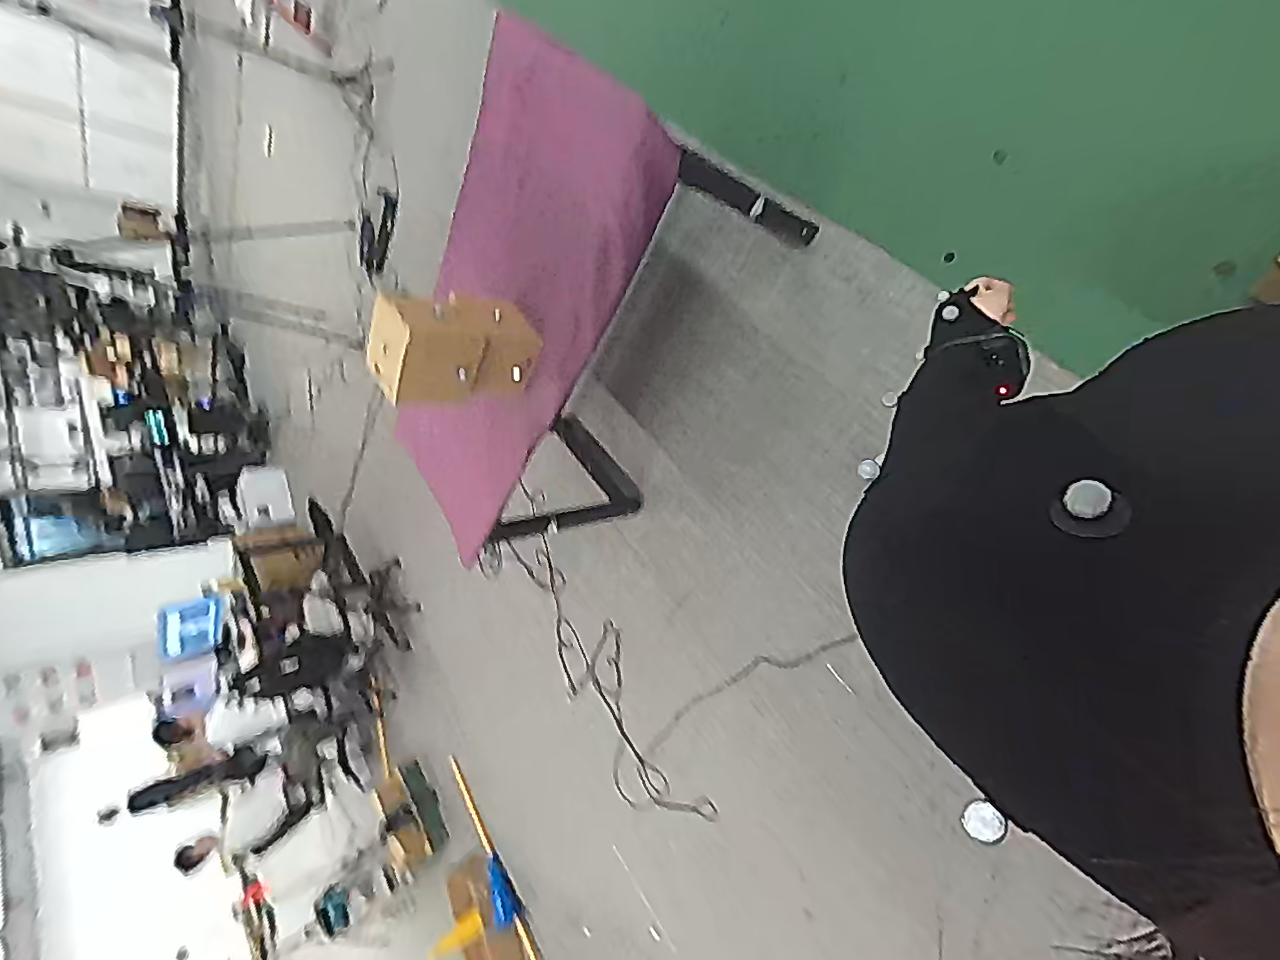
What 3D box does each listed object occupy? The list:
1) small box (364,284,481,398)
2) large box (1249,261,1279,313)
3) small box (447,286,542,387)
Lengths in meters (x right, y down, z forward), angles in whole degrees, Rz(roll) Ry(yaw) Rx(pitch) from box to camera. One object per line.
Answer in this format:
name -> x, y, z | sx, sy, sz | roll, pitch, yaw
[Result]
small box -> -0.466, -0.294, 1.168 | 0.168, 0.176, 0.179 | 48, 125, 28
large box -> 1.209, -0.302, 0.730 | 0.408, 0.320, 0.320 | 51, 127, 25
small box -> -0.367, -0.333, 1.295 | 0.179, 0.176, 0.168 | 51, 127, 26
